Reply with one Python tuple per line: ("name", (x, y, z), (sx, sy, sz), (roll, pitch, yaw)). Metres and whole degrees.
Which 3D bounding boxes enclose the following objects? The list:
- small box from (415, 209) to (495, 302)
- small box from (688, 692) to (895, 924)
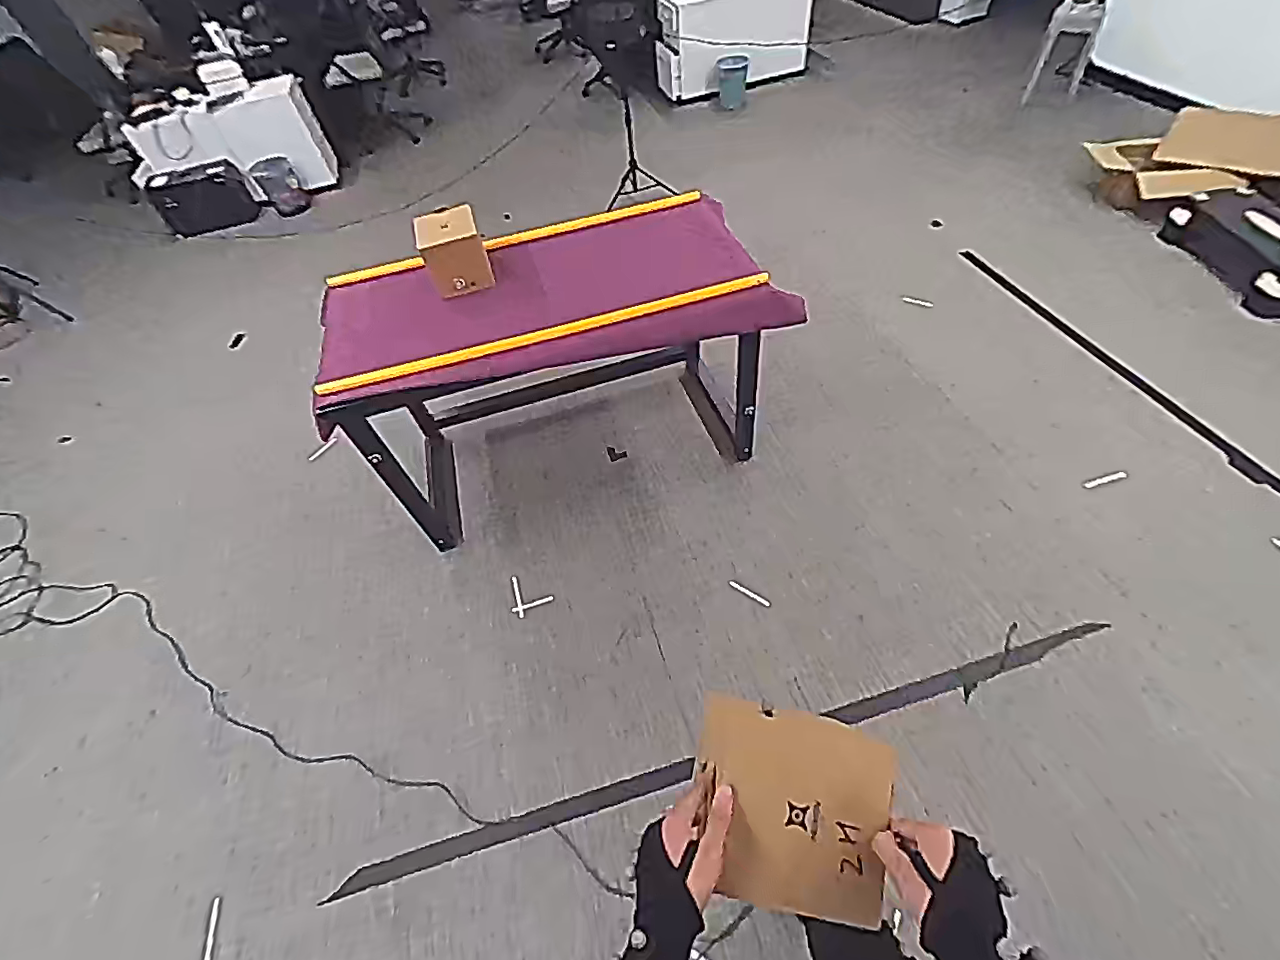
("small box", (-0.534, -0.649, 1.571), (0.168, 0.176, 0.179), (-19, 54, -5))
("small box", (0.159, 0.350, 0.616), (0.179, 0.176, 0.168), (13, 76, 0))
